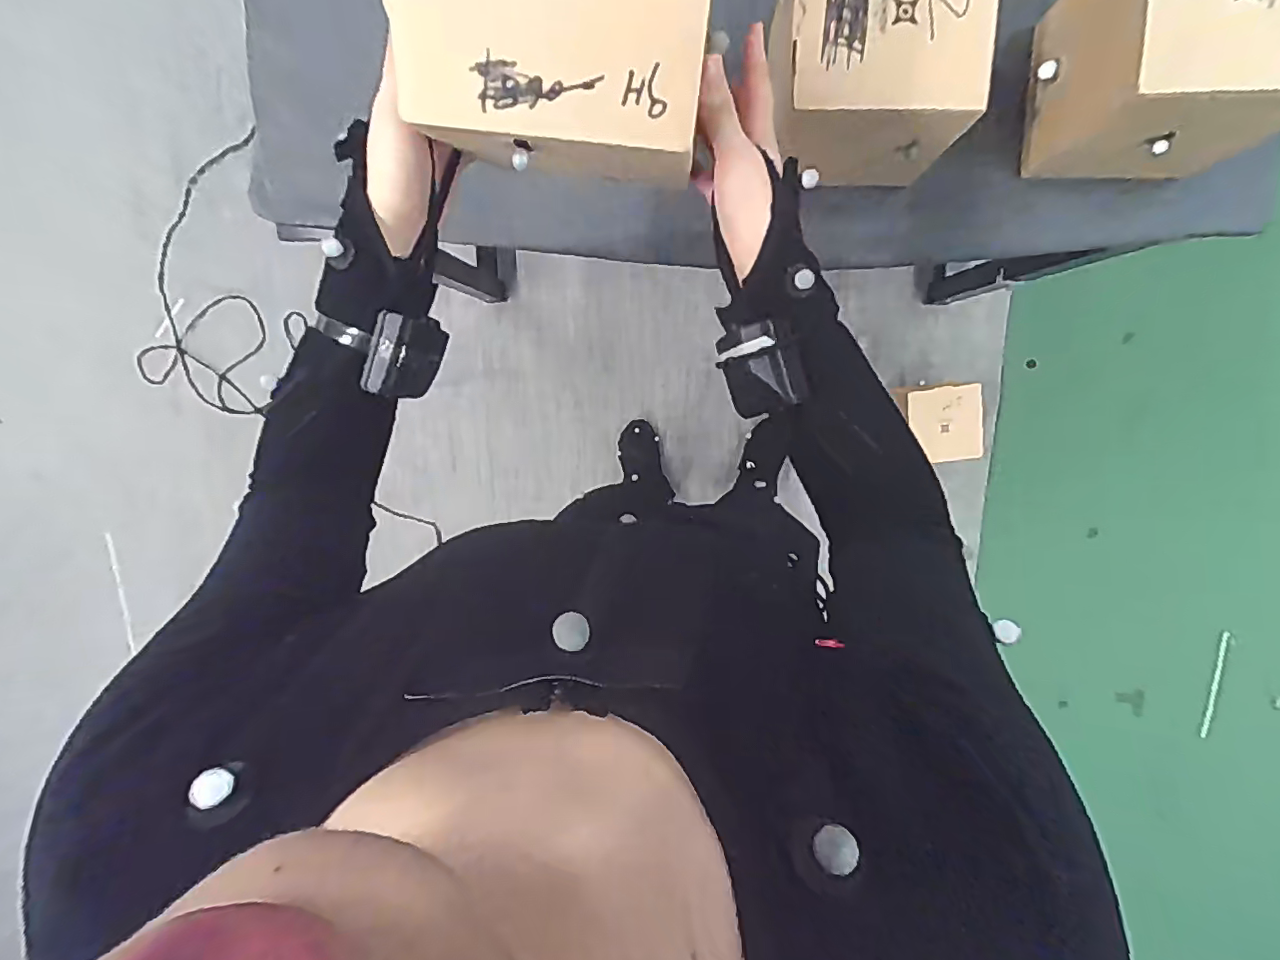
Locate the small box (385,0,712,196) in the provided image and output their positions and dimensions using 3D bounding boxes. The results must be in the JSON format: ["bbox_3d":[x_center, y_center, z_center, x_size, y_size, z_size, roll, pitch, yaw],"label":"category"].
[{"bbox_3d":[-0.040,-0.293,0.337,0.168,0.176,0.179,7,112,1],"label":"small box"}]

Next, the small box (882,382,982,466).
[{"bbox_3d":[0.702,-0.140,1.315,0.168,0.176,0.179,-6,100,5],"label":"small box"}]

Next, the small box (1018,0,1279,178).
[{"bbox_3d":[0.519,-0.416,0.528,0.179,0.176,0.168,3,97,5],"label":"small box"}]
